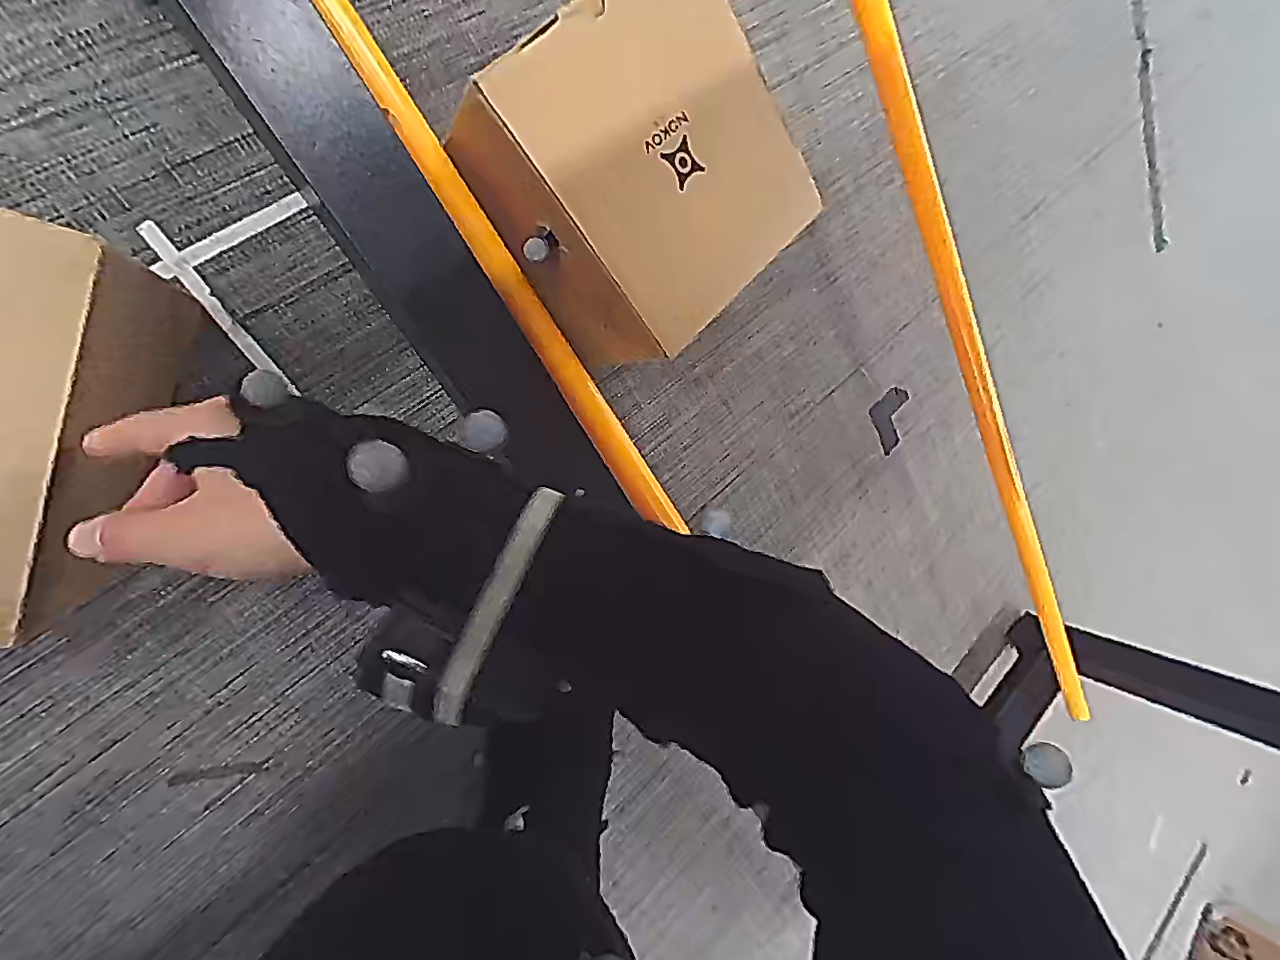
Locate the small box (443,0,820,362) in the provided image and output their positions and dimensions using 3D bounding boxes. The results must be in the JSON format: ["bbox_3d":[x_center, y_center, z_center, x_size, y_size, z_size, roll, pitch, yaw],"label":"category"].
[{"bbox_3d":[-0.014,-0.203,0.392,0.168,0.176,0.179,-46,115,-15],"label":"small box"}]
